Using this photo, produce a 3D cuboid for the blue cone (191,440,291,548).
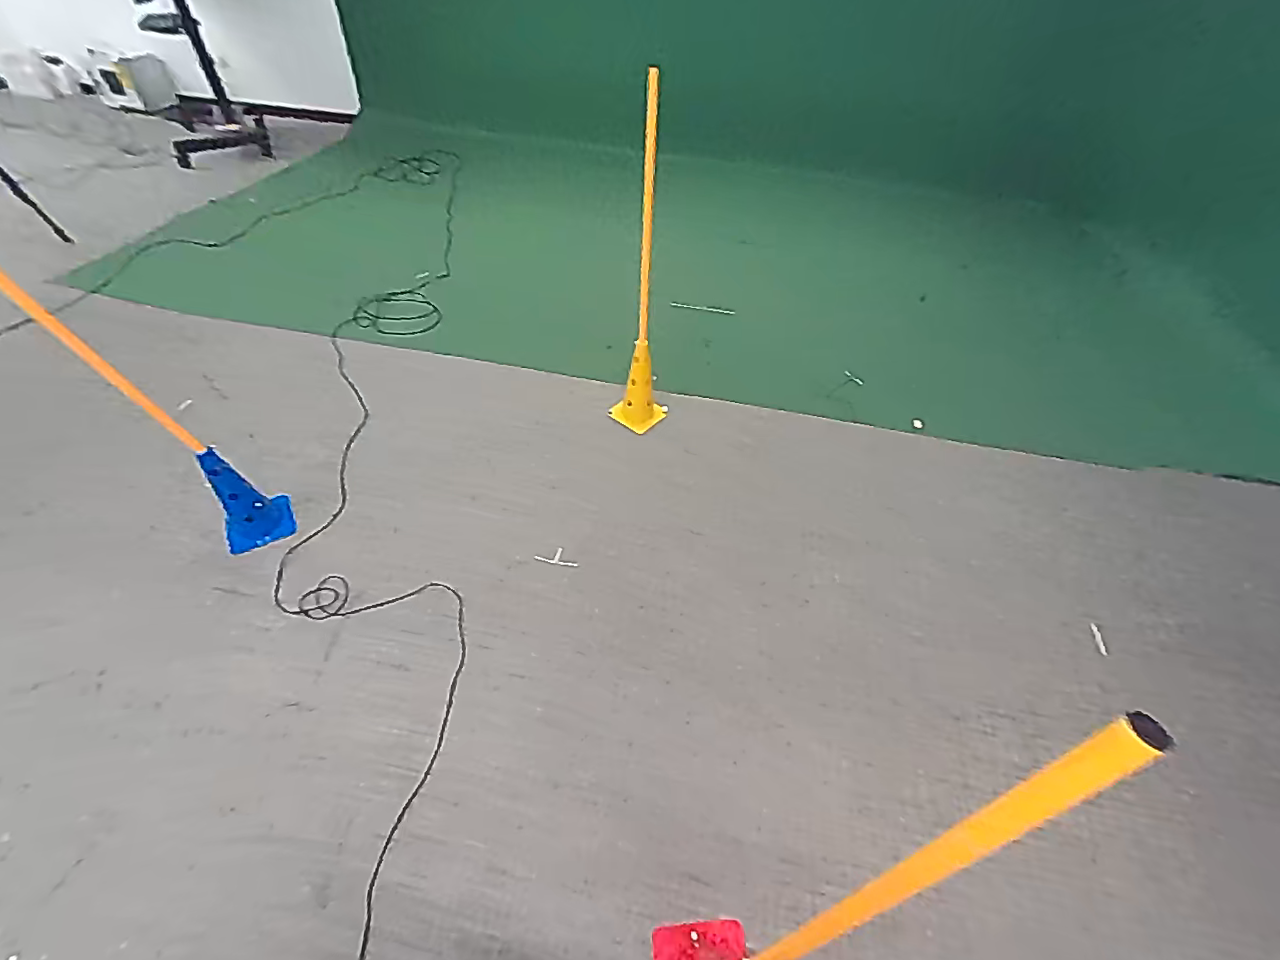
[{"bbox_3d":[-1.277,0.026,1.693,0.193,0.380,0.192,-26,55,-23],"label":"blue cone"}]
